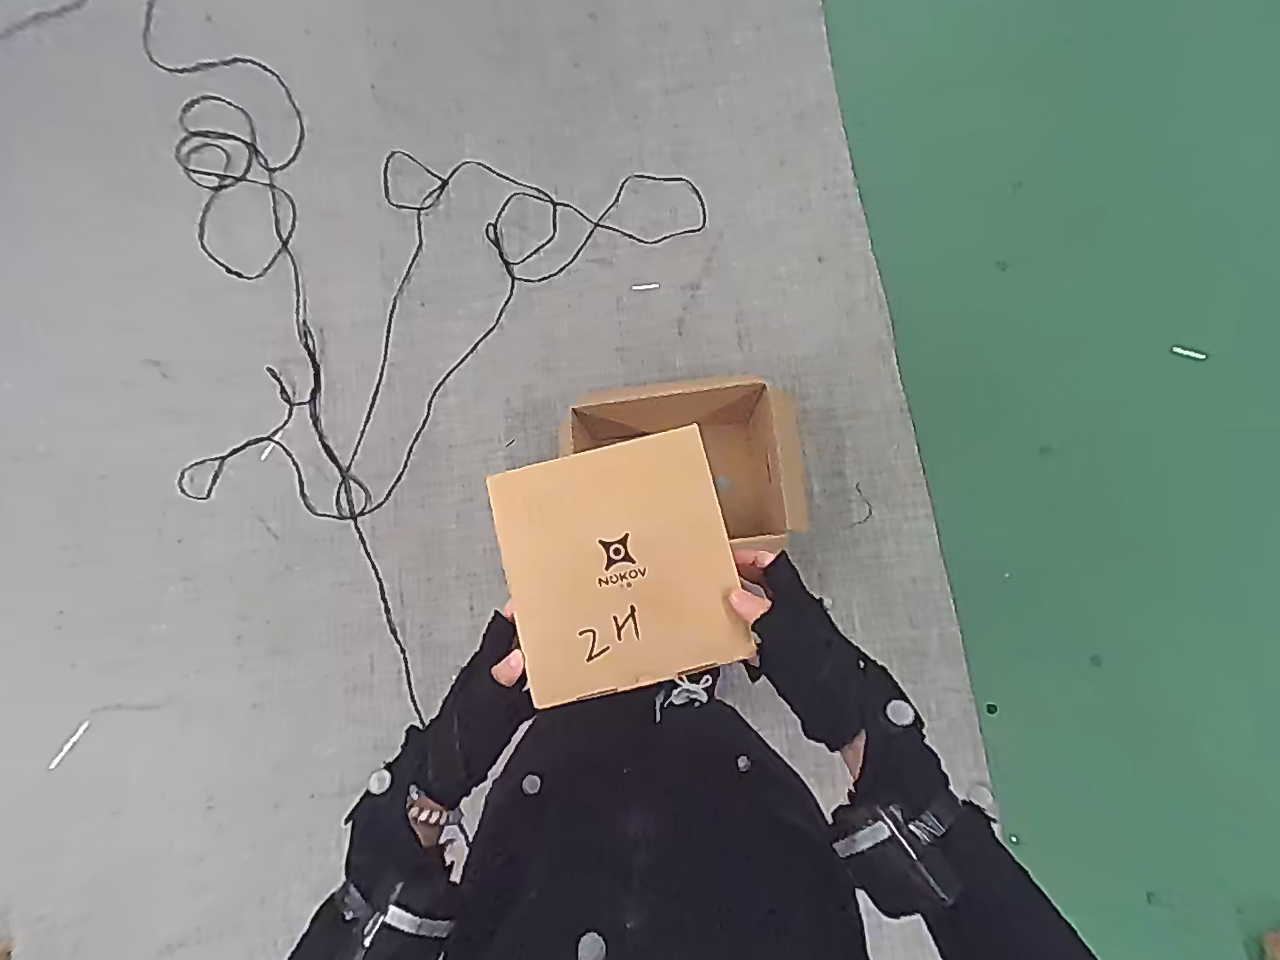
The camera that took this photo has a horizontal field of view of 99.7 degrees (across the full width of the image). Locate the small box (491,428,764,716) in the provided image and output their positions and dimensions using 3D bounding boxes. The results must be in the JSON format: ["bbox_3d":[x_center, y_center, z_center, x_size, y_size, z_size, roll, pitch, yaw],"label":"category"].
[{"bbox_3d":[-0.010,0.073,0.461,0.168,0.176,0.179,-14,83,1],"label":"small box"}]
